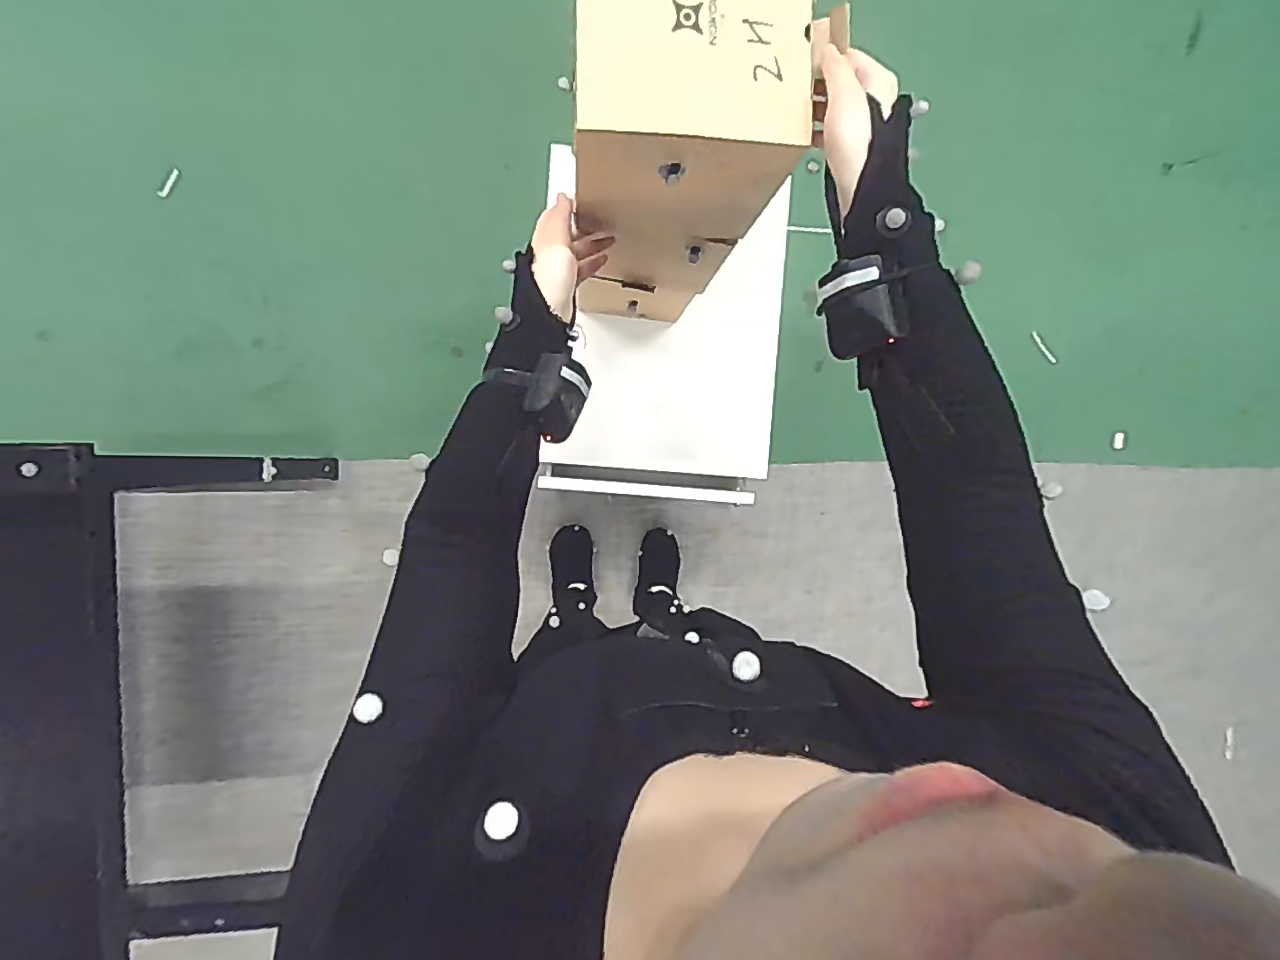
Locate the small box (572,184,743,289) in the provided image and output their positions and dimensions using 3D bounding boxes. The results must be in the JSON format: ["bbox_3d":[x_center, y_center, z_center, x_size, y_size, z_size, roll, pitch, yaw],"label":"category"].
[{"bbox_3d":[0.020,-0.335,0.619,0.179,0.176,0.168,7,91,-7],"label":"small box"}]

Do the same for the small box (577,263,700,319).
[{"bbox_3d":[0.000,-0.343,0.780,0.168,0.176,0.179,5,92,-6],"label":"small box"}]

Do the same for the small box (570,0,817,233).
[{"bbox_3d":[0.032,-0.325,0.455,0.179,0.176,0.168,0,93,-7],"label":"small box"}]
